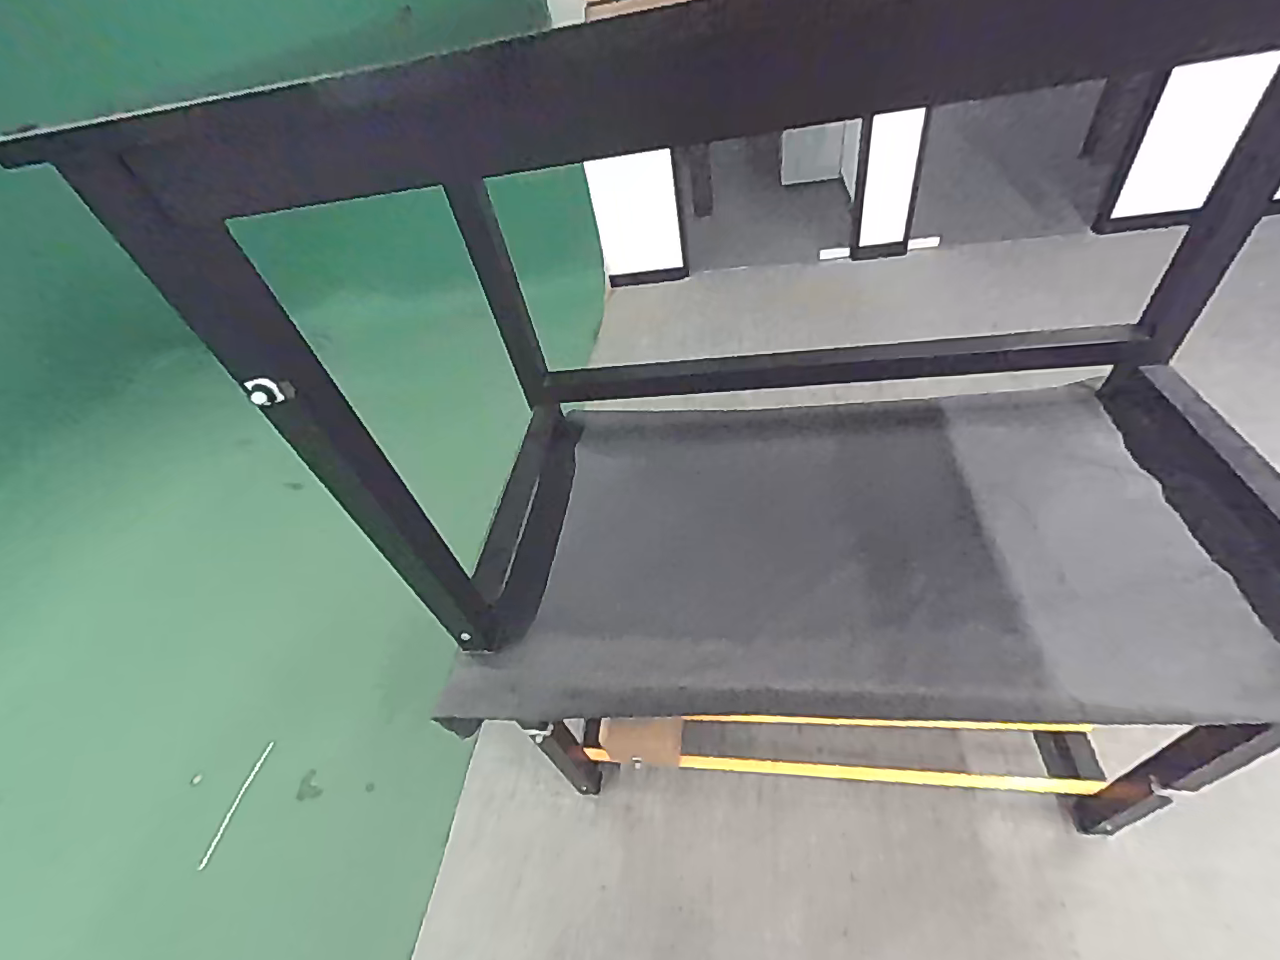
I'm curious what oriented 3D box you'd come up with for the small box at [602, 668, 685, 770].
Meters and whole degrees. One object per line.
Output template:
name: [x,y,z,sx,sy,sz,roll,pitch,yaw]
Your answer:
small box: [0.016,0.570,1.293,0.168,0.176,0.179,-3,47,11]
